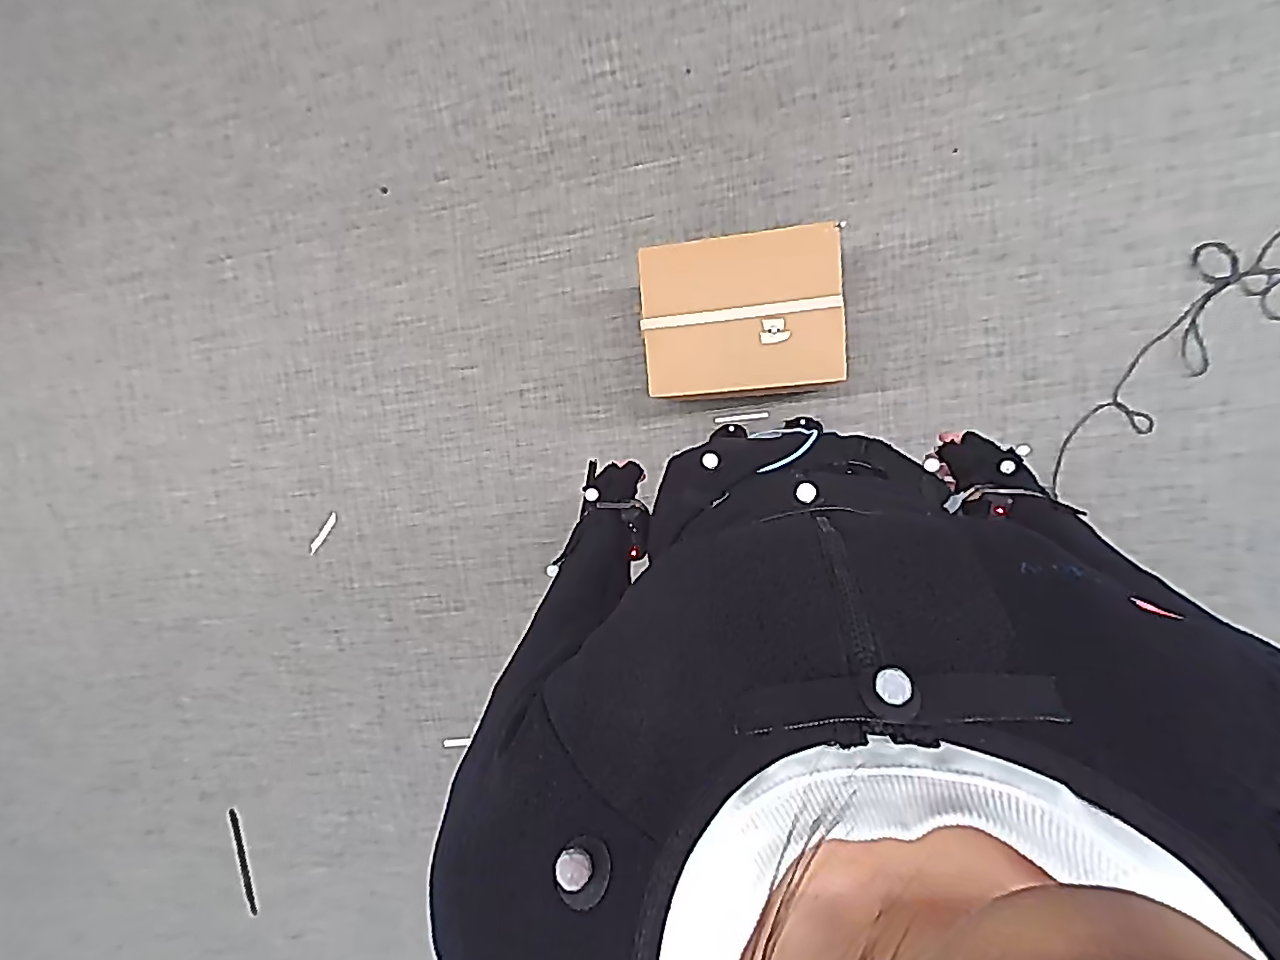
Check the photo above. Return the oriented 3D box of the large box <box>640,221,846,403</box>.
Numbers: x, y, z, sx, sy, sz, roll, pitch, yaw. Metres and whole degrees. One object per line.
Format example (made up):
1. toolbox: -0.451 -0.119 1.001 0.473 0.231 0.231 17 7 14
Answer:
1. large box: 0.231 -0.358 1.258 0.408 0.320 0.320 -4 96 10
